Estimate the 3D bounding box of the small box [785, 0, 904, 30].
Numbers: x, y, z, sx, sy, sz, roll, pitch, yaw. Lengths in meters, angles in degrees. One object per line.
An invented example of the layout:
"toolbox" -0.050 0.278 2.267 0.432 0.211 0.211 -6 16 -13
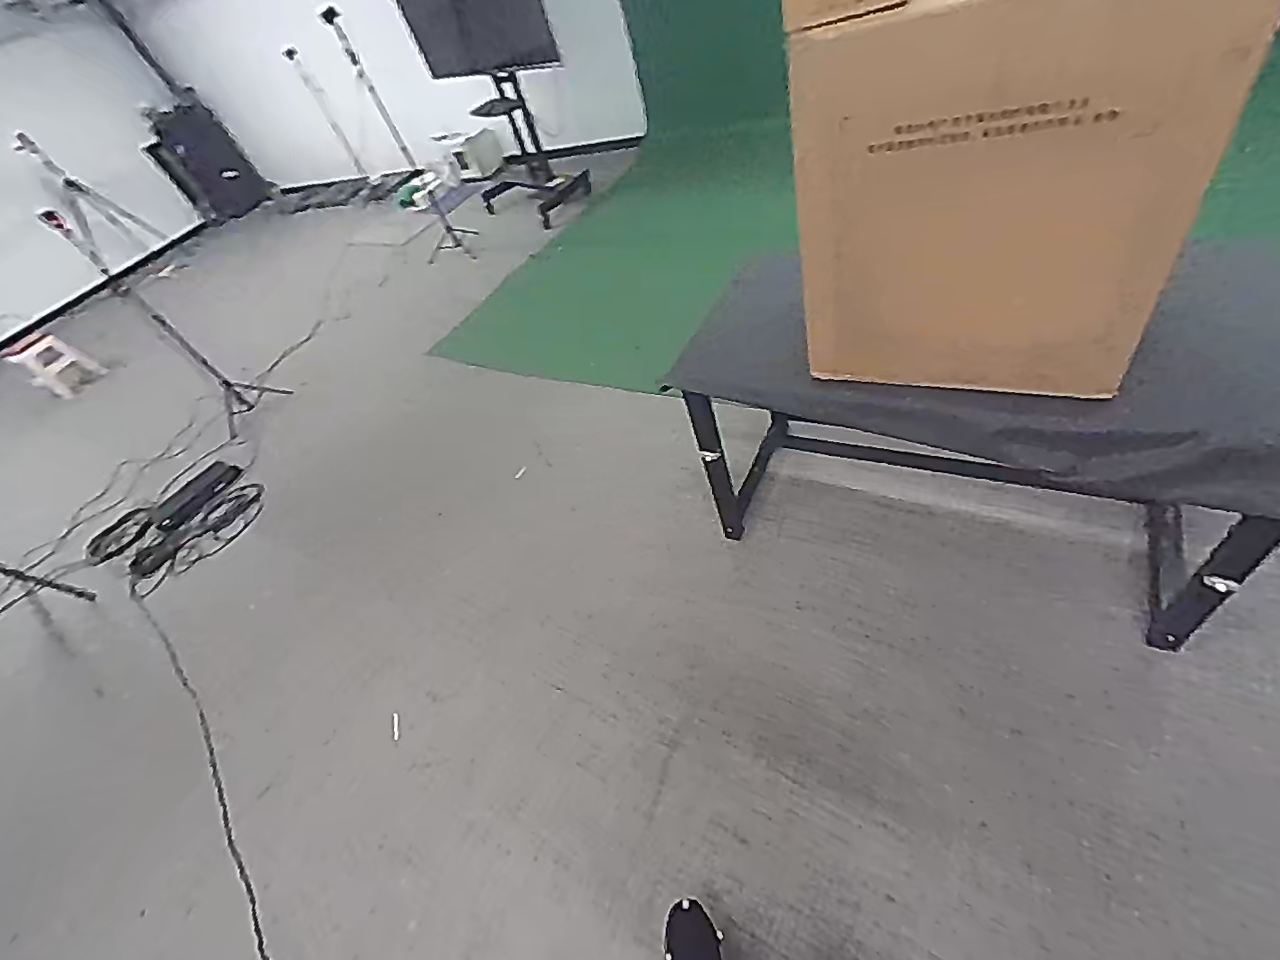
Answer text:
"small box" 0.292 -0.748 0.732 0.168 0.176 0.179 9 54 29
